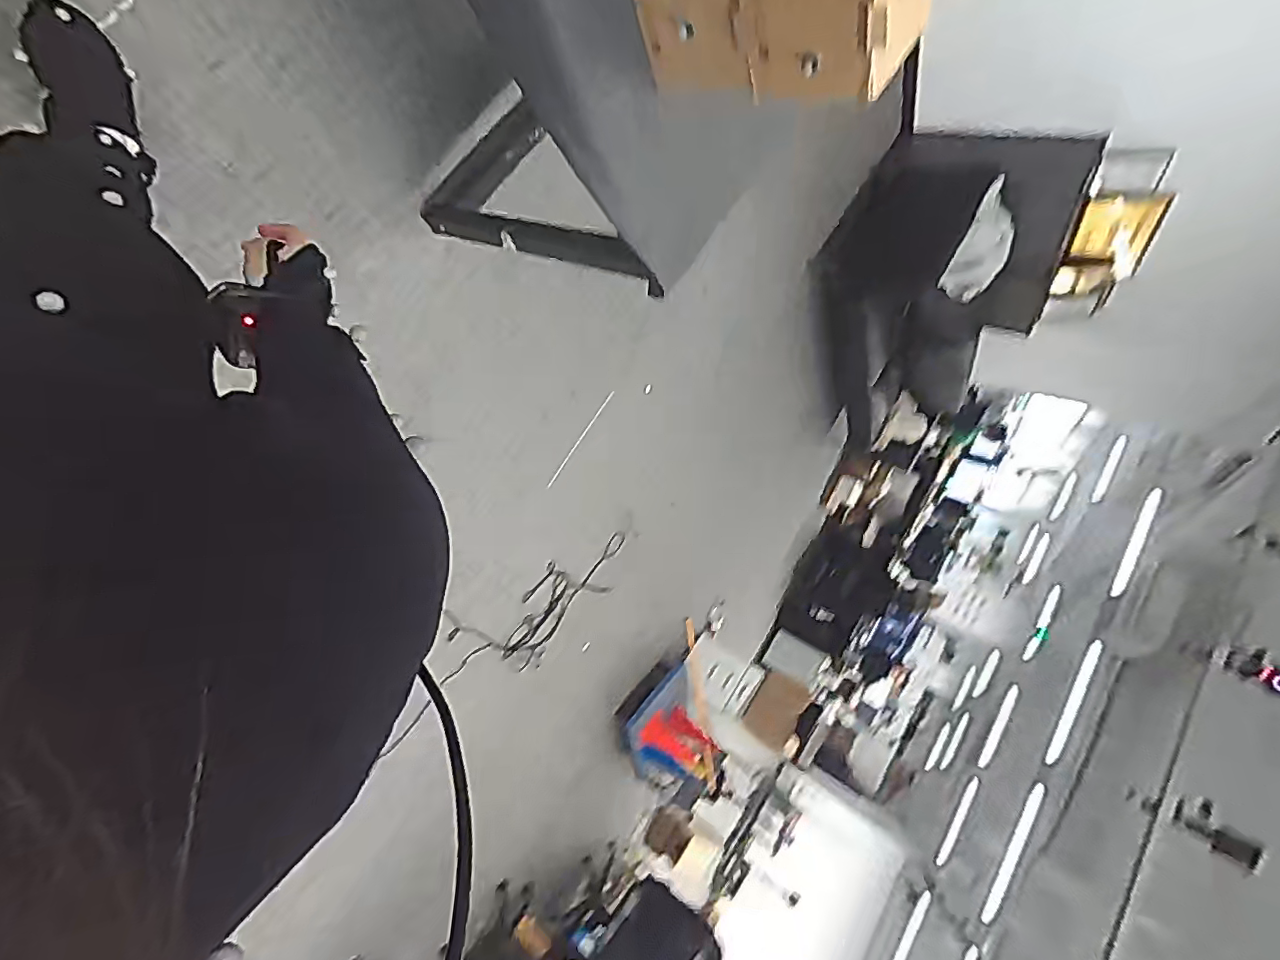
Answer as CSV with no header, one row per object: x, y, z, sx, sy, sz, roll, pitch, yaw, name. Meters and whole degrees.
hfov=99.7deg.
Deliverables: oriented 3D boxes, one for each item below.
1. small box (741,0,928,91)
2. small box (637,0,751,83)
0.232,-0.603,0.649,0.179,0.176,0.168,-57,149,-14,small box
0.106,-0.670,0.729,0.179,0.176,0.168,-55,148,-14,small box
